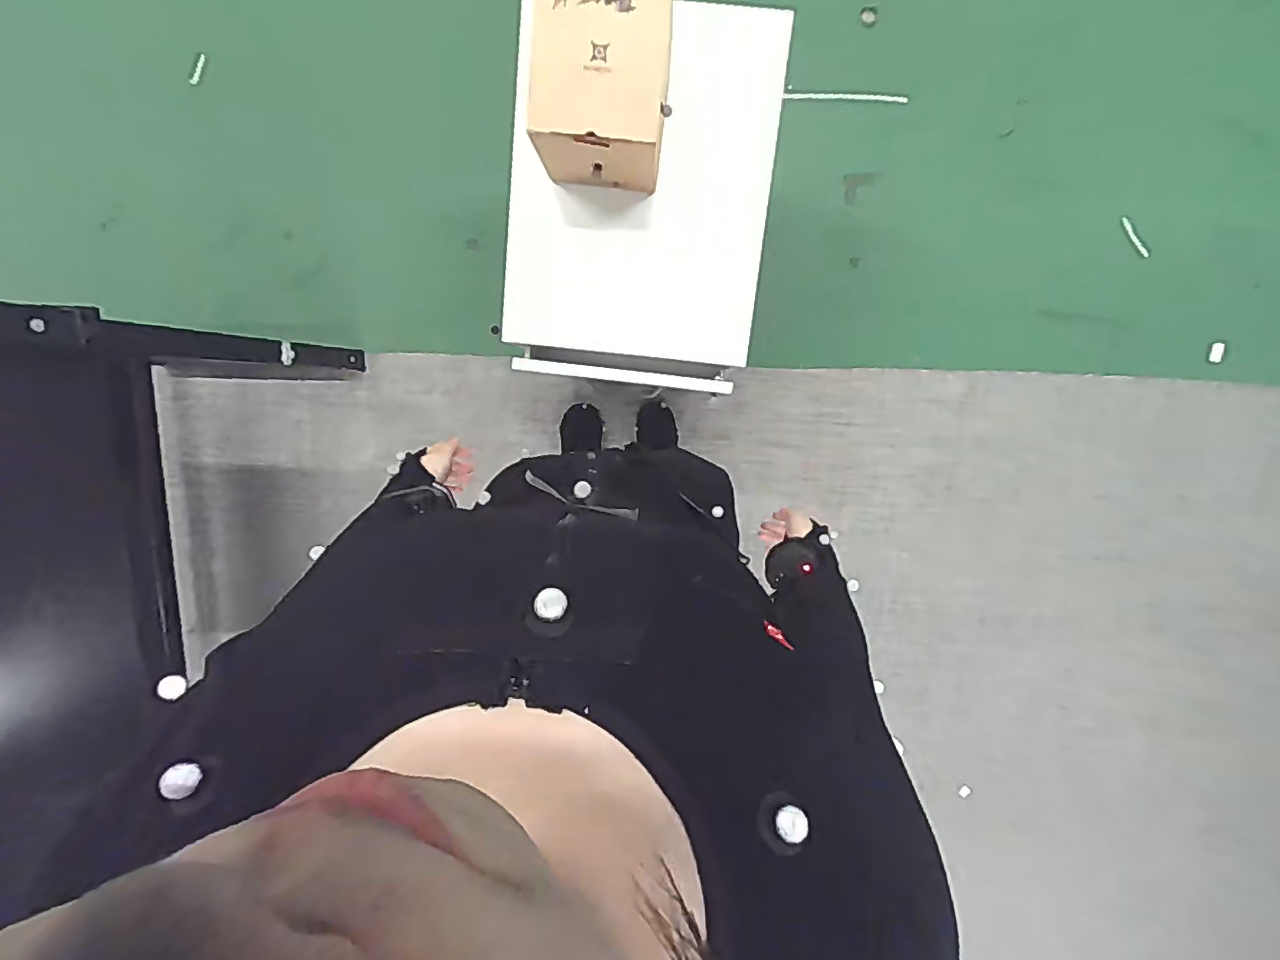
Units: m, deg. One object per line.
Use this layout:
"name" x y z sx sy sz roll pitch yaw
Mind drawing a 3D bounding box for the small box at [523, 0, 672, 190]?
"small box" -0.049 -0.511 0.722 0.168 0.176 0.179 7 100 0
